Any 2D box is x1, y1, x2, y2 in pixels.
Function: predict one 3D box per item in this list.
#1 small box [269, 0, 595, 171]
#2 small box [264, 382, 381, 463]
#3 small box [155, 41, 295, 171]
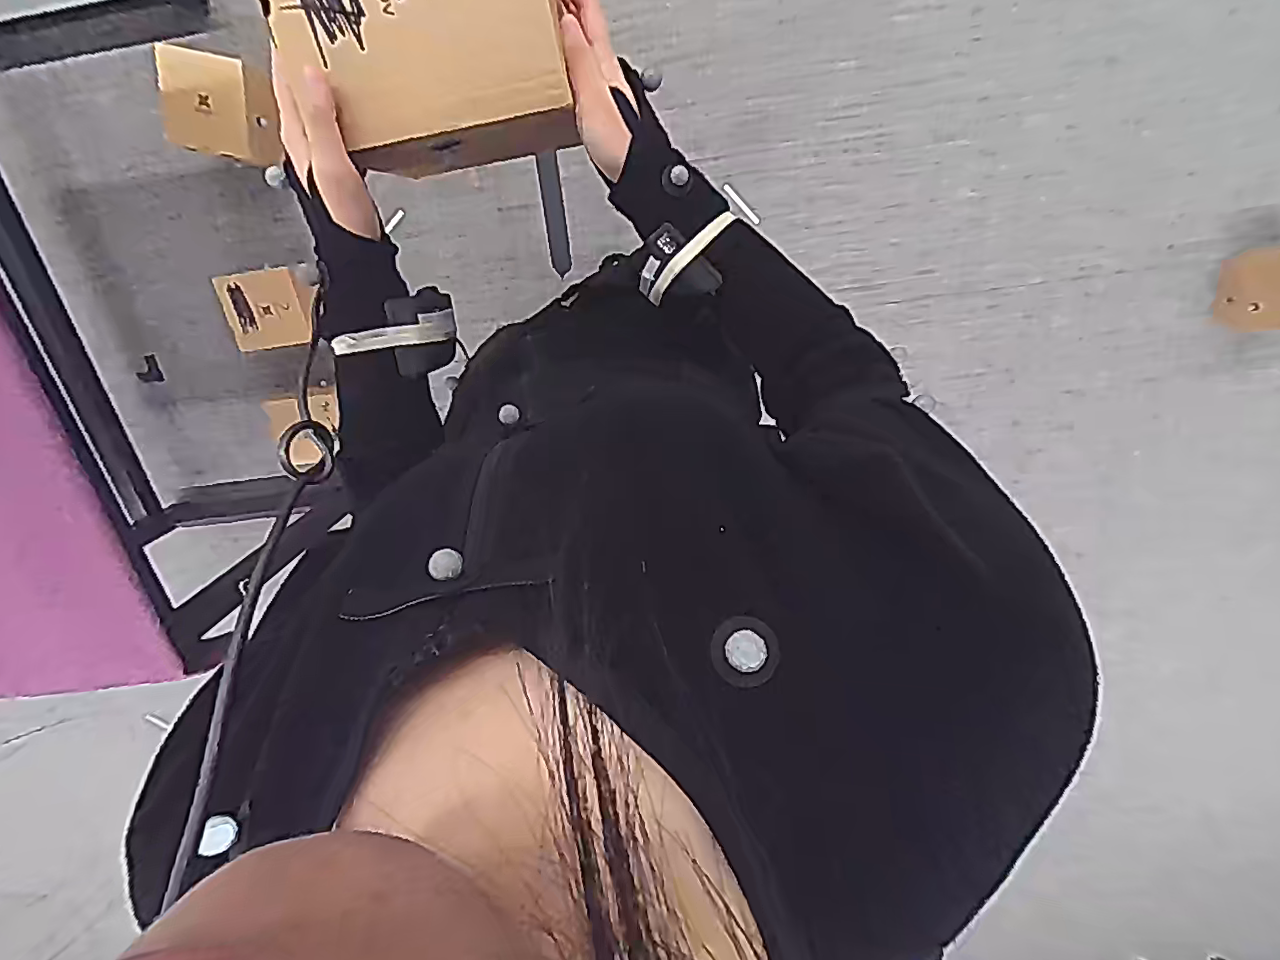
[{"bbox_3d":[-0.137,-0.334,0.387,0.179,0.176,0.168,-9,114,4],"label":"small box"},{"bbox_3d":[-0.804,-0.151,1.386,0.179,0.176,0.168,-4,111,3],"label":"small box"},{"bbox_3d":[-0.861,-0.775,1.141,0.168,0.176,0.179,9,112,-4],"label":"small box"}]
